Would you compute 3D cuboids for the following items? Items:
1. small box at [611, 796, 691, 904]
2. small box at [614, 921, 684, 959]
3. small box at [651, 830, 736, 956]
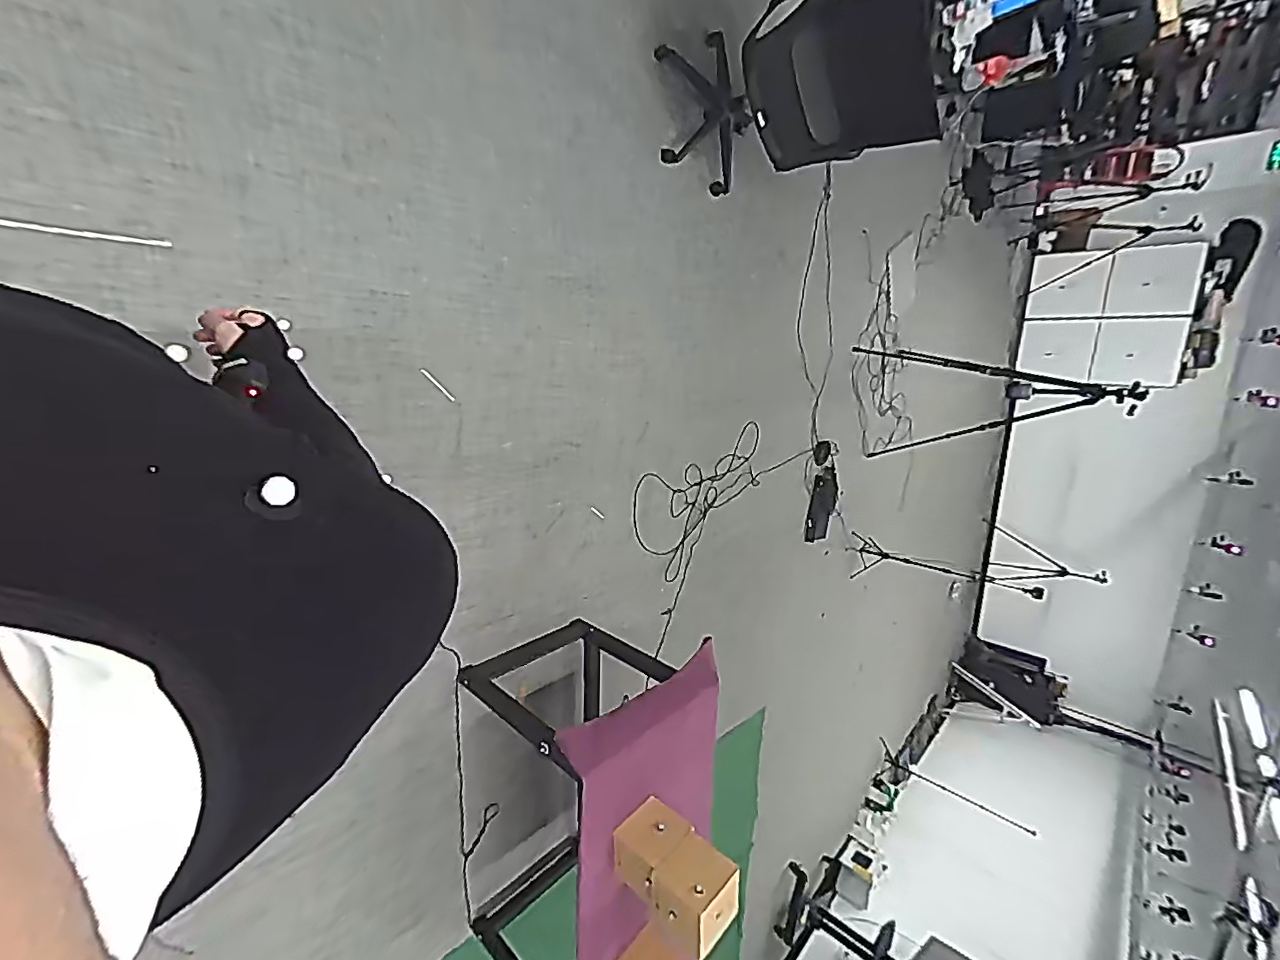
[{"bbox_3d":[0.034,1.091,1.606,0.179,0.176,0.168,-19,113,-45],"label":"small box"},{"bbox_3d":[0.020,1.576,1.715,0.179,0.176,0.168,-15,110,-47],"label":"small box"},{"bbox_3d":[0.143,1.123,1.485,0.179,0.176,0.168,-18,113,-45],"label":"small box"}]
